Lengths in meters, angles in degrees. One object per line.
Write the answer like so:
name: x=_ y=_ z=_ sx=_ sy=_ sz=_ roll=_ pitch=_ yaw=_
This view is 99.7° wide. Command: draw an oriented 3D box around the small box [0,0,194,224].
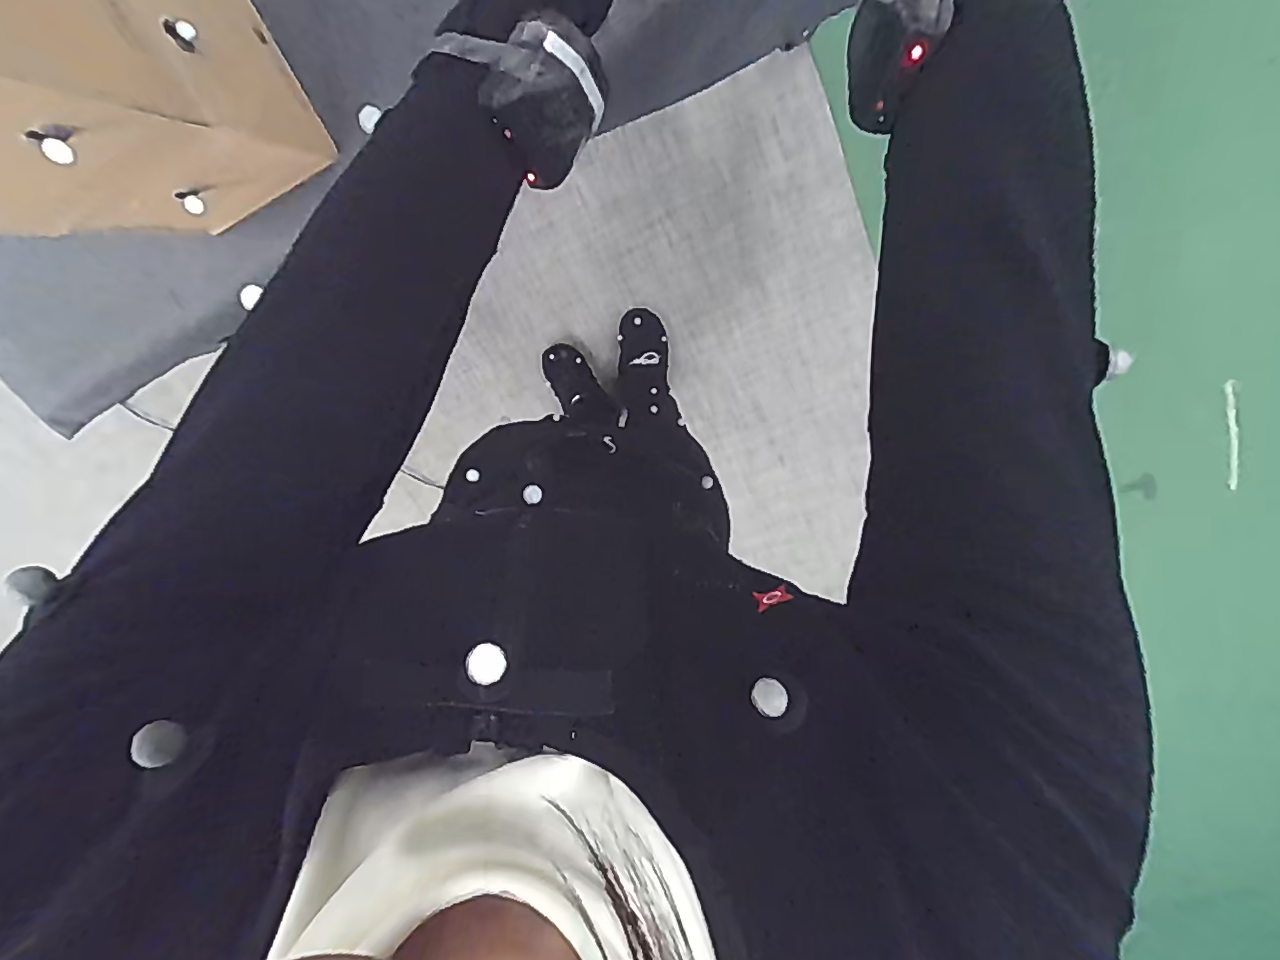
small box: x=-0.427 y=-0.274 z=0.322 sx=0.179 sy=0.176 sz=0.168 roll=-22 pitch=108 yaw=14

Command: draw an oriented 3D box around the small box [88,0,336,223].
small box: x=-0.417 y=-0.341 z=0.470 sx=0.179 sy=0.176 sz=0.168 roll=-21 pitch=110 yaw=13
